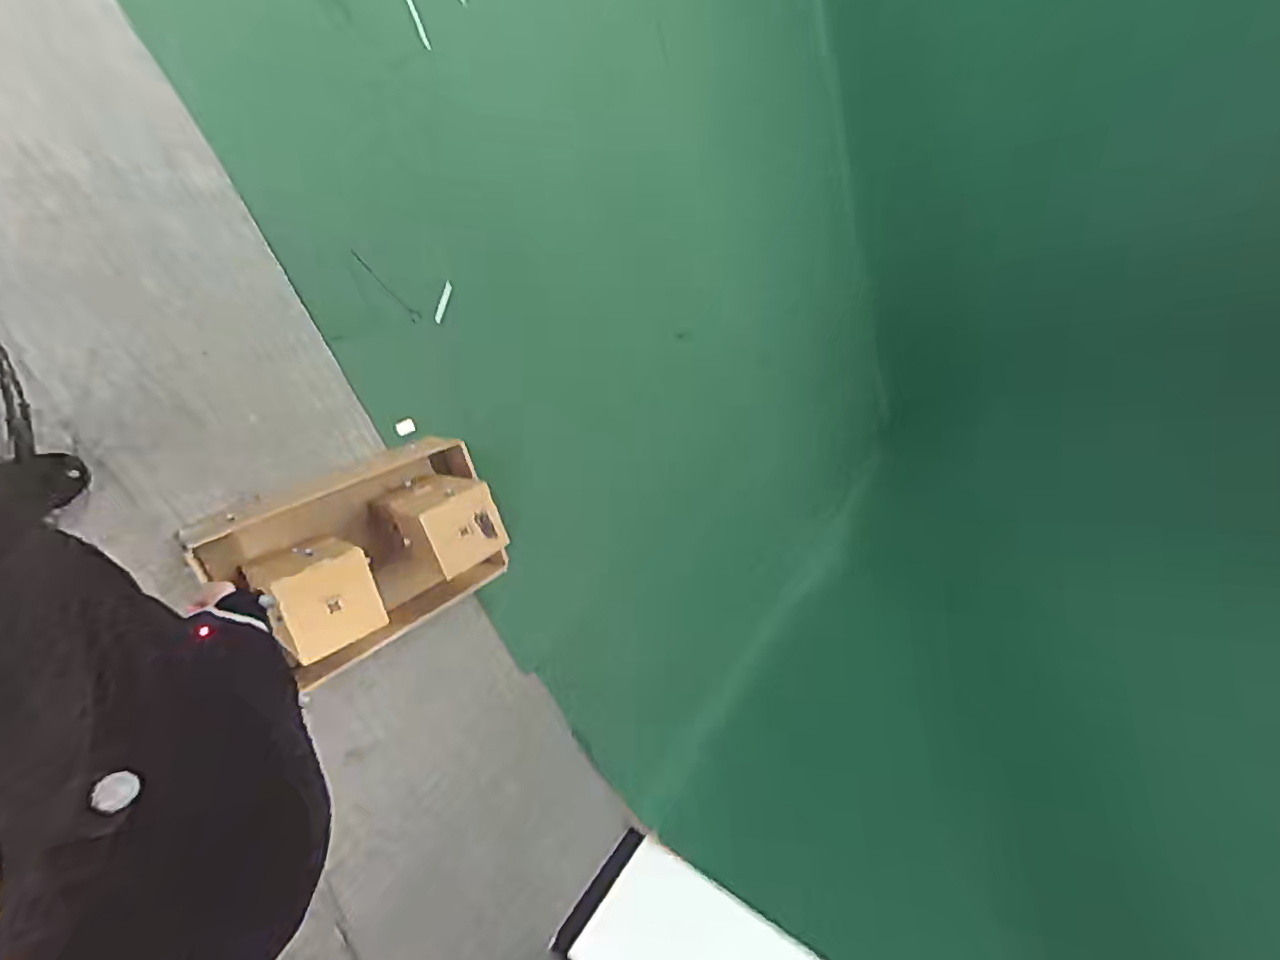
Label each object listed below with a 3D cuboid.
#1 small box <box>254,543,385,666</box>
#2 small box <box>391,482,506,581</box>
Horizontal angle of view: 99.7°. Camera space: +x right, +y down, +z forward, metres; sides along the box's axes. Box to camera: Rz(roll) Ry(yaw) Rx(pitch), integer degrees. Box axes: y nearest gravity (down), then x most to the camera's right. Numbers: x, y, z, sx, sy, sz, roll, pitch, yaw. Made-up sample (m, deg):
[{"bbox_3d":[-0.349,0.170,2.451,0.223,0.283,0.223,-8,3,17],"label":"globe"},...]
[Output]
[{"bbox_3d":[-0.657,0.245,1.110,0.168,0.176,0.179,-26,108,-42],"label":"small box"},{"bbox_3d":[-0.458,0.114,1.295,0.179,0.176,0.168,-32,115,-37],"label":"small box"}]
